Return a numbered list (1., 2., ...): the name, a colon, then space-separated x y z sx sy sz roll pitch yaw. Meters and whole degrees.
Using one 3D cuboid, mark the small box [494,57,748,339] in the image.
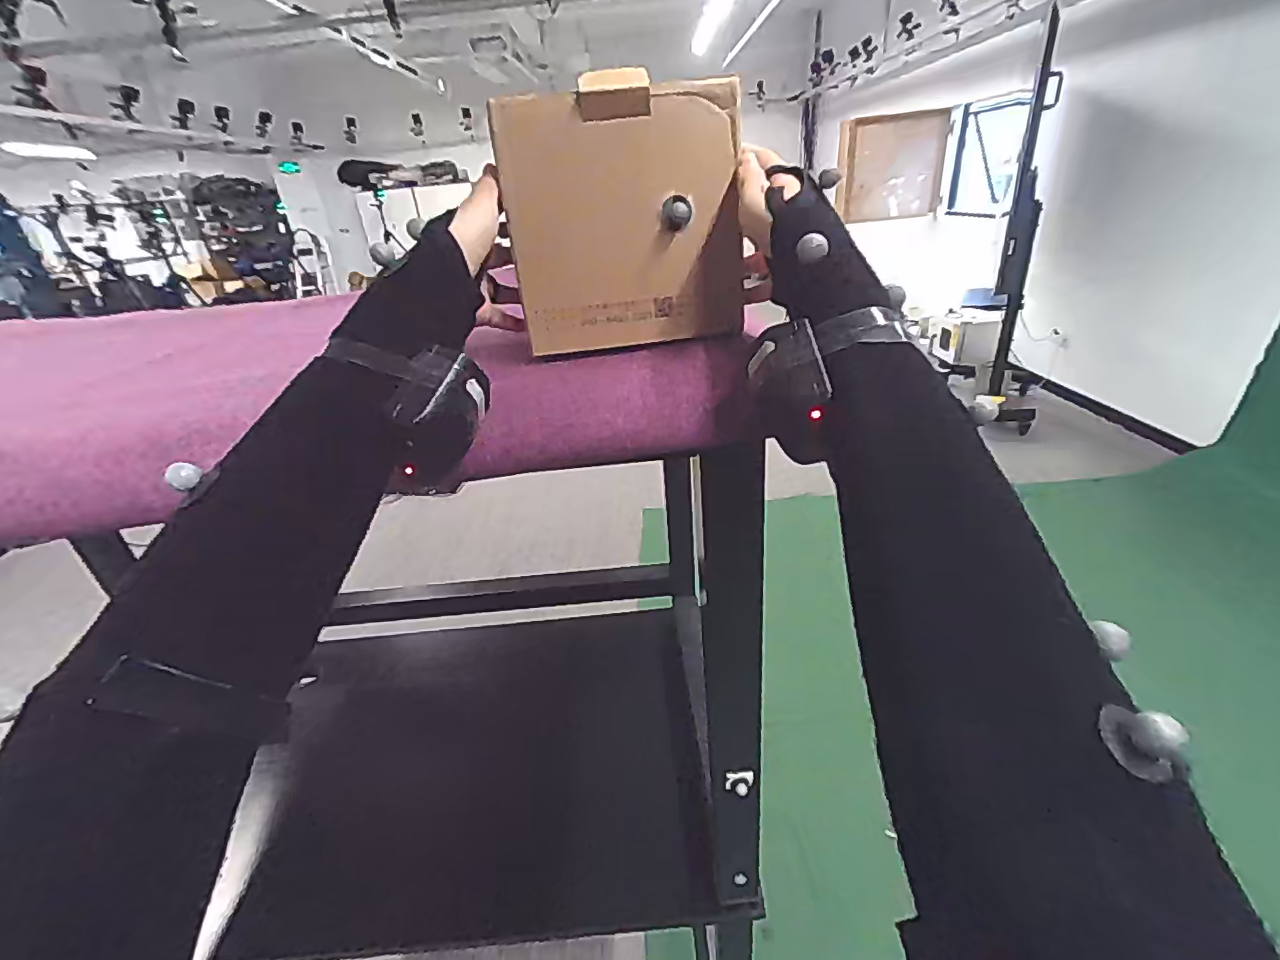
1. small box: -0.009 -0.218 0.450 0.168 0.176 0.179 -7 25 -1
